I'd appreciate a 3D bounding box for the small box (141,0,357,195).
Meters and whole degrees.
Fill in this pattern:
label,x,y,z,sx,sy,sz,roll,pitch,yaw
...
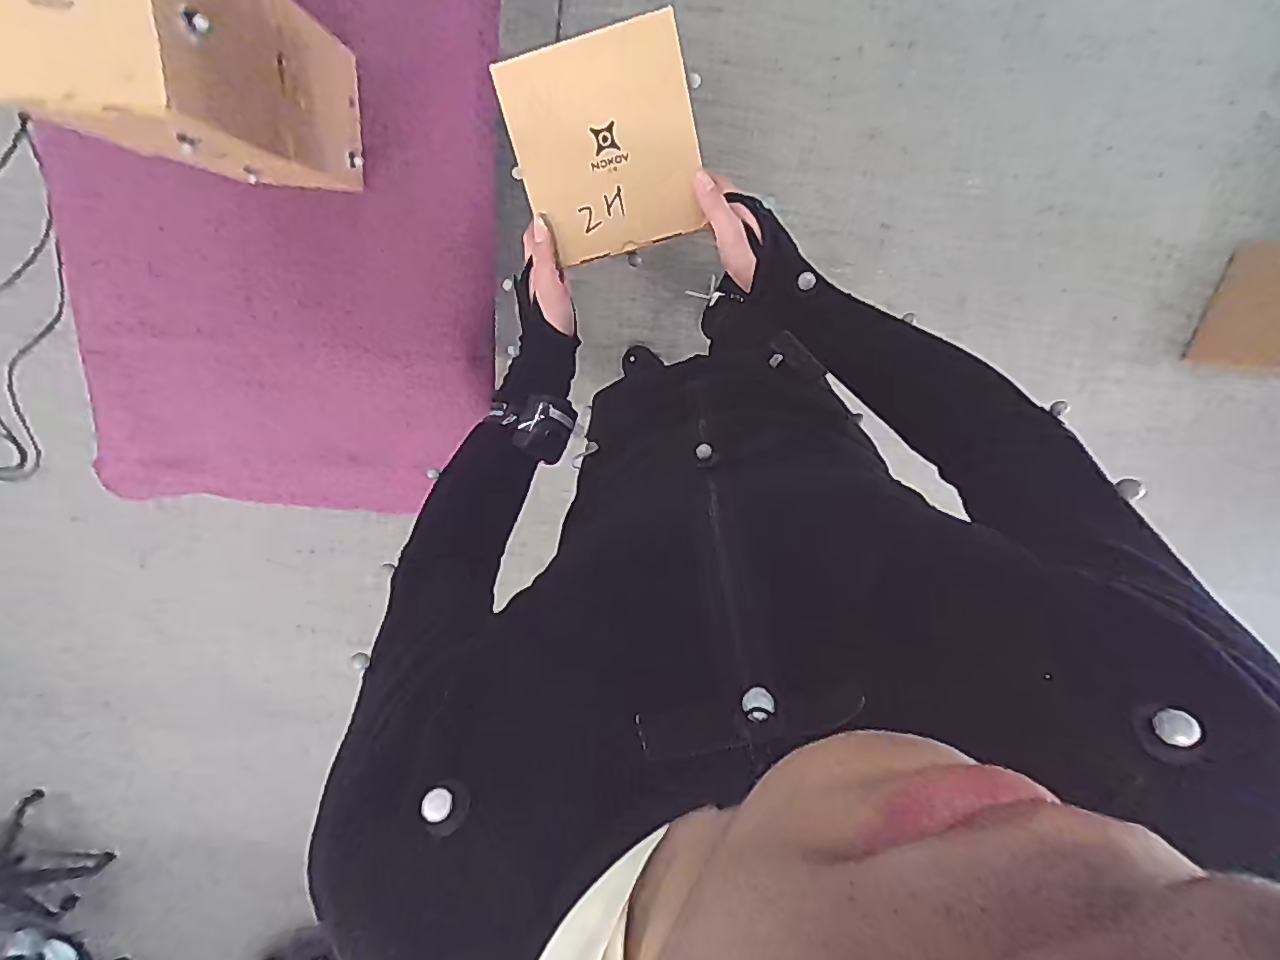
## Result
label,x,y,z,sx,sy,sz,roll,pitch,yaw
small box,-0.469,-0.460,0.662,0.179,0.176,0.168,5,107,0

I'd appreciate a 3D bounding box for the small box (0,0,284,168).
label,x,y,z,sx,sy,sz,roll,pitch,yaw
small box,-0.467,-0.412,0.506,0.168,0.176,0.179,4,106,-1

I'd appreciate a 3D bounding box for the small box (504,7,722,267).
label,x,y,z,sx,sy,sz,roll,pitch,yaw
small box,-0.020,-0.329,0.560,0.168,0.176,0.179,-12,112,6
